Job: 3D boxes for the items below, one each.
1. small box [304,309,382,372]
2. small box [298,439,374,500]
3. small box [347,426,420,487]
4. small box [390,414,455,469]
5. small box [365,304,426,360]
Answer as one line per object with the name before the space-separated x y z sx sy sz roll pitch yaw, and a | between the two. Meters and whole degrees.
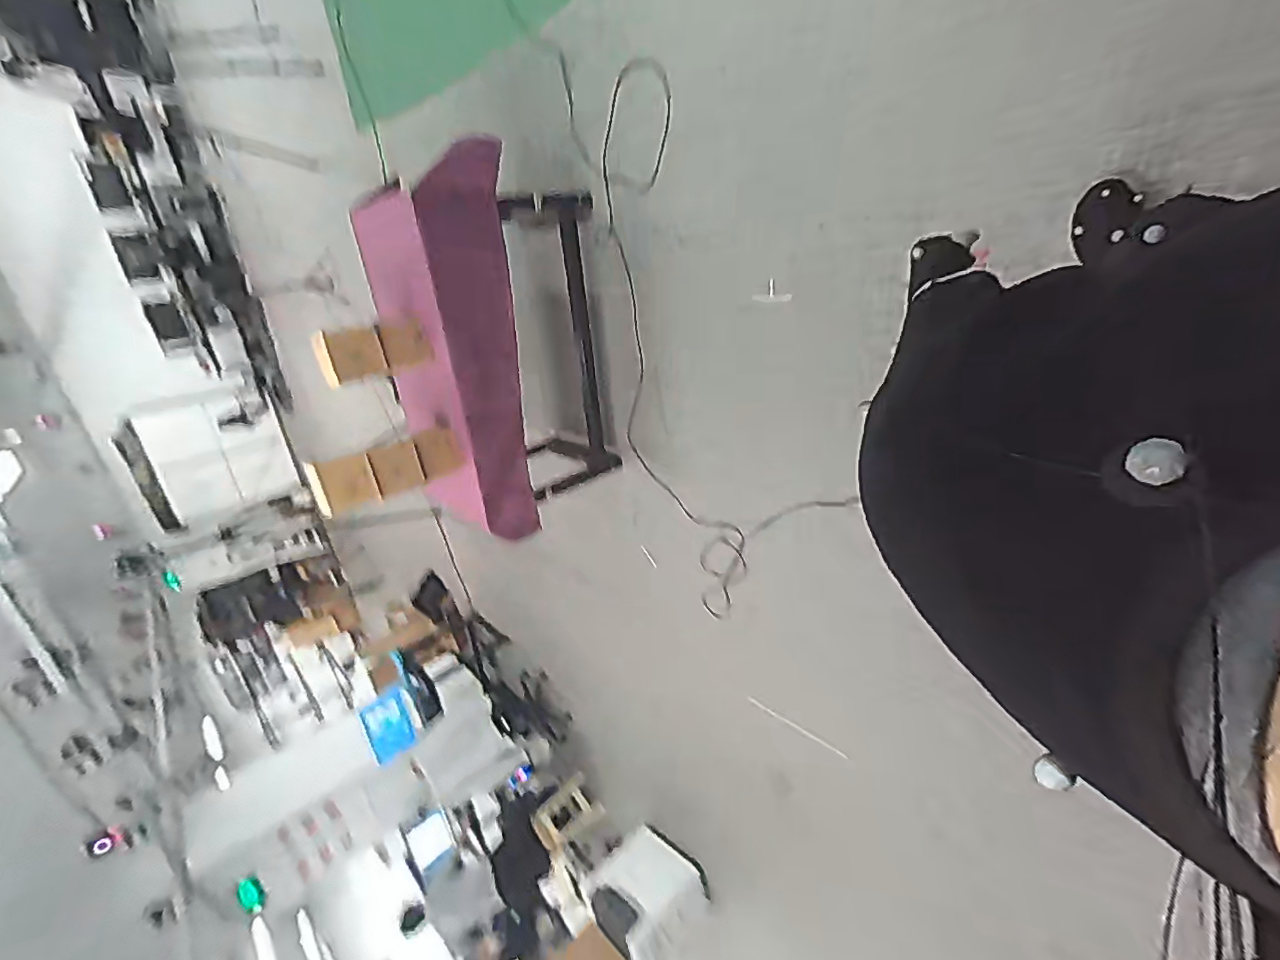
small box | -1.004 -0.473 1.837 0.168 0.176 0.179 10 118 47
small box | -1.043 -0.043 1.863 0.179 0.176 0.168 6 114 49
small box | -0.933 -0.091 1.973 0.168 0.176 0.179 11 118 47
small box | -0.833 -0.154 2.089 0.179 0.176 0.168 12 118 47
small box | -0.899 -0.529 1.952 0.179 0.176 0.168 4 113 49
